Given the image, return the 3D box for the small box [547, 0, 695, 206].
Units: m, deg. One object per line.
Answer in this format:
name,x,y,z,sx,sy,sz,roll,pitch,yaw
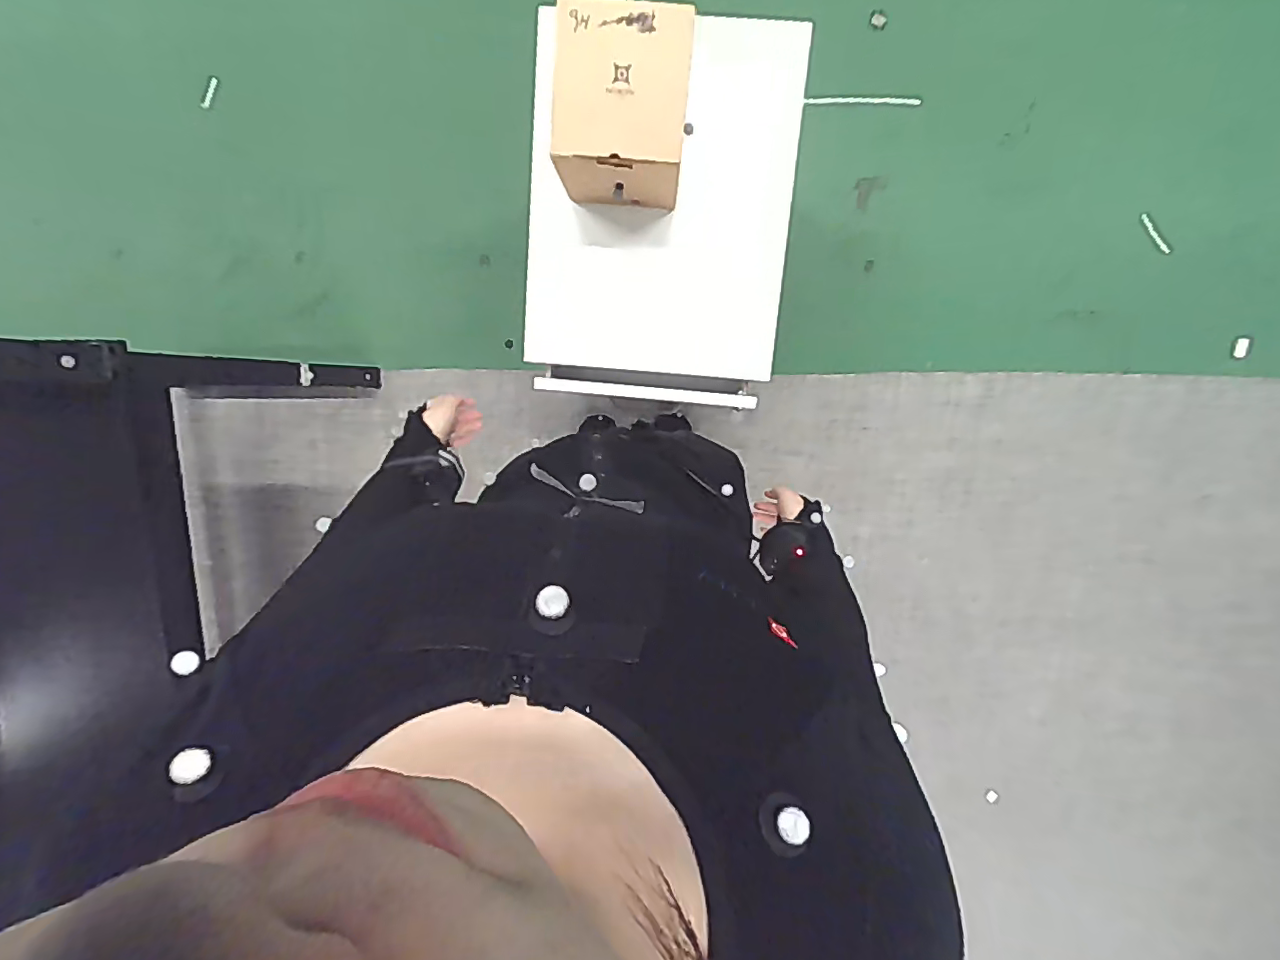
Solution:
small box,-0.021,-0.482,0.717,0.168,0.176,0.179,5,101,1
